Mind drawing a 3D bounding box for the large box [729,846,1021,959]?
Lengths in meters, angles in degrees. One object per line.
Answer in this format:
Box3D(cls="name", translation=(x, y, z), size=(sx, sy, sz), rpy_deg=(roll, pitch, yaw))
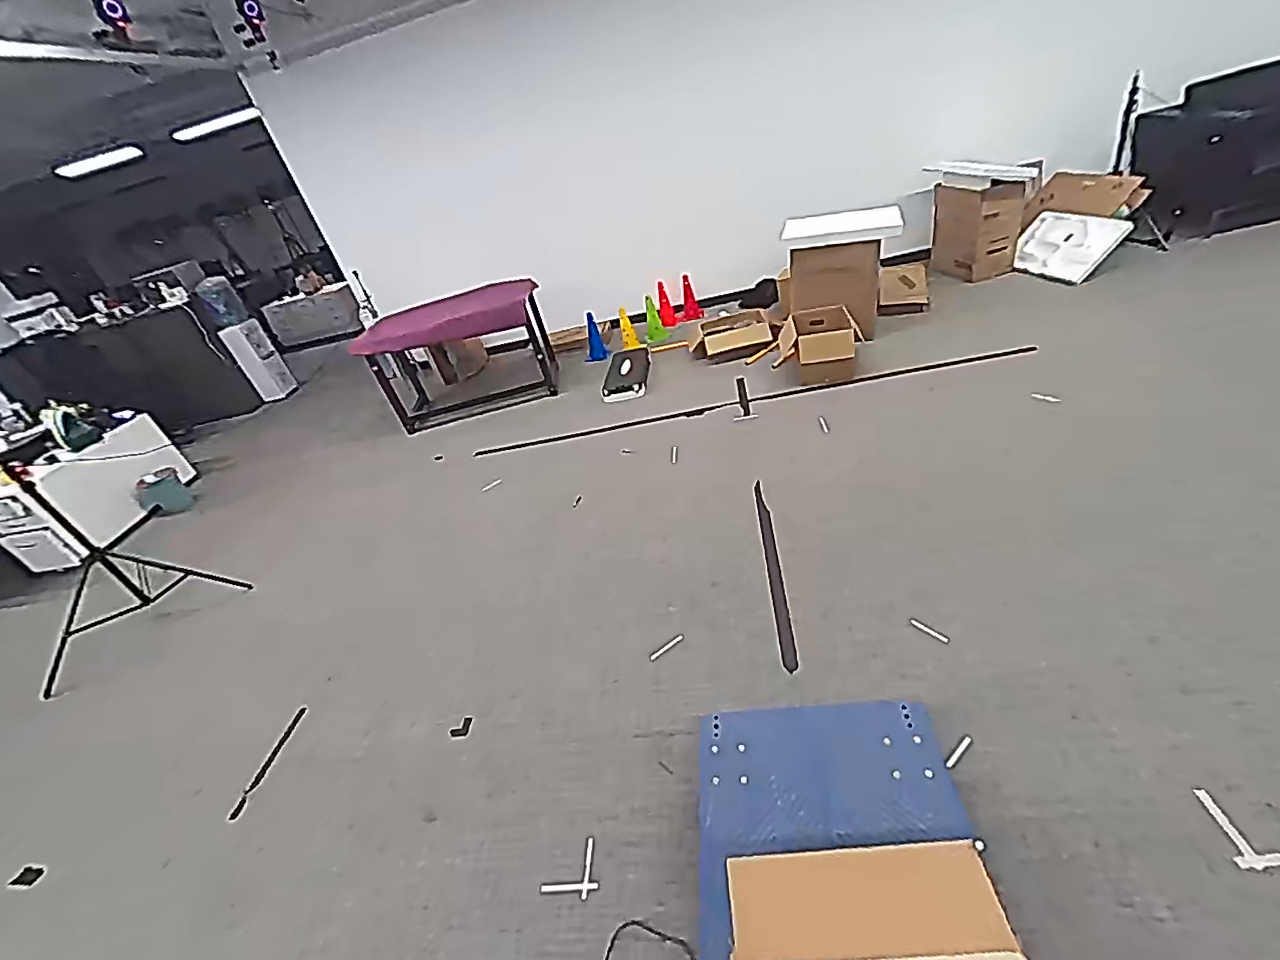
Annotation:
Box3D(cls="large box", translation=(0.376, 0.839, 0.862), size=(0.408, 0.320, 0.320), rpy_deg=(-10, 34, 8))
